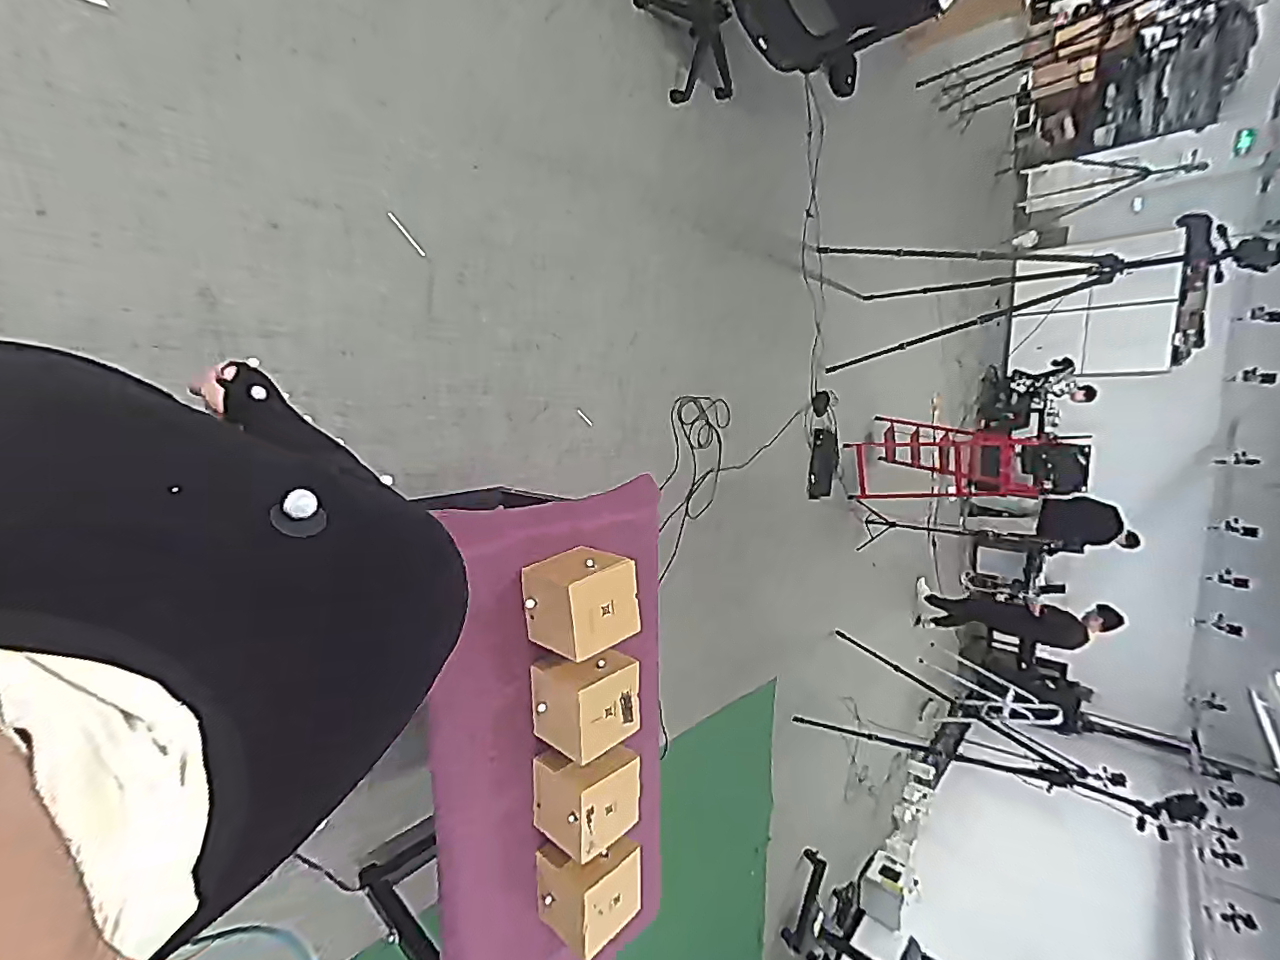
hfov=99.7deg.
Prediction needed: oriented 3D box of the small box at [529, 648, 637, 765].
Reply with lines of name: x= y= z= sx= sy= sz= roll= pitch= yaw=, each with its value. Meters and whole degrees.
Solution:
small box: x=-0.125 y=0.477 z=1.190 sx=0.179 sy=0.176 sz=0.168 roll=-9 pitch=101 yaw=-45

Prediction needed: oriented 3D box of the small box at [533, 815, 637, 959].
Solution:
small box: x=-0.127 y=0.921 z=1.248 sx=0.179 sy=0.176 sz=0.168 roll=-7 pitch=100 yaw=-46

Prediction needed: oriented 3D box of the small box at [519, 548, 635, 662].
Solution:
small box: x=-0.133 y=0.254 z=1.152 sx=0.179 sy=0.176 sz=0.168 roll=-15 pitch=106 yaw=-44
